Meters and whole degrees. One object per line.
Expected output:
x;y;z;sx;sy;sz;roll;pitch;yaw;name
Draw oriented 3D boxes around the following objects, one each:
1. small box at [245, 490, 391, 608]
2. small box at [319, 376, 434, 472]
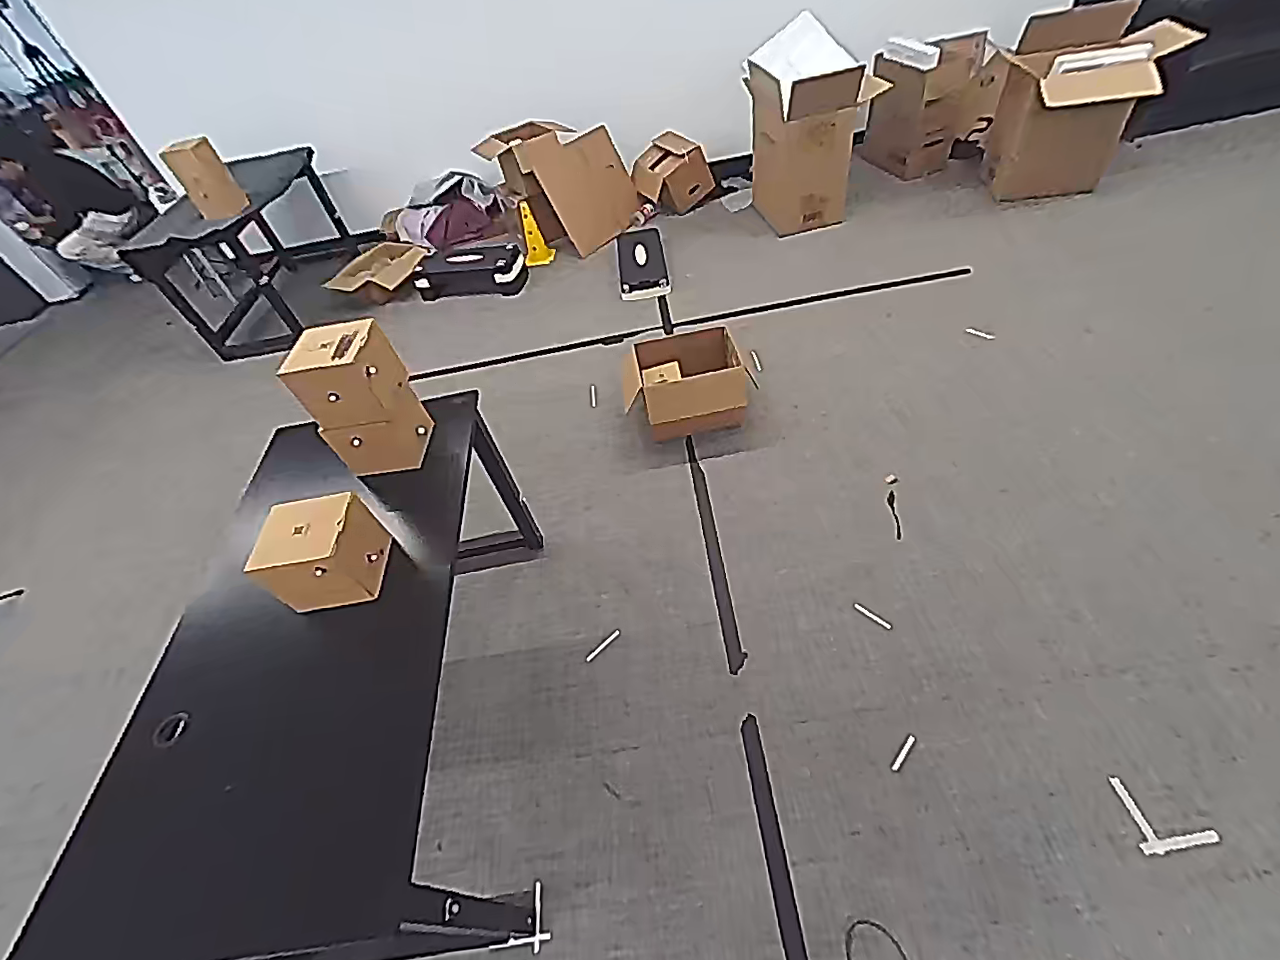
-0.652;0.148;1.120;0.179;0.176;0.168;-10;48;2;small box
-0.653;-0.135;1.361;0.179;0.176;0.168;-7;50;6;small box
